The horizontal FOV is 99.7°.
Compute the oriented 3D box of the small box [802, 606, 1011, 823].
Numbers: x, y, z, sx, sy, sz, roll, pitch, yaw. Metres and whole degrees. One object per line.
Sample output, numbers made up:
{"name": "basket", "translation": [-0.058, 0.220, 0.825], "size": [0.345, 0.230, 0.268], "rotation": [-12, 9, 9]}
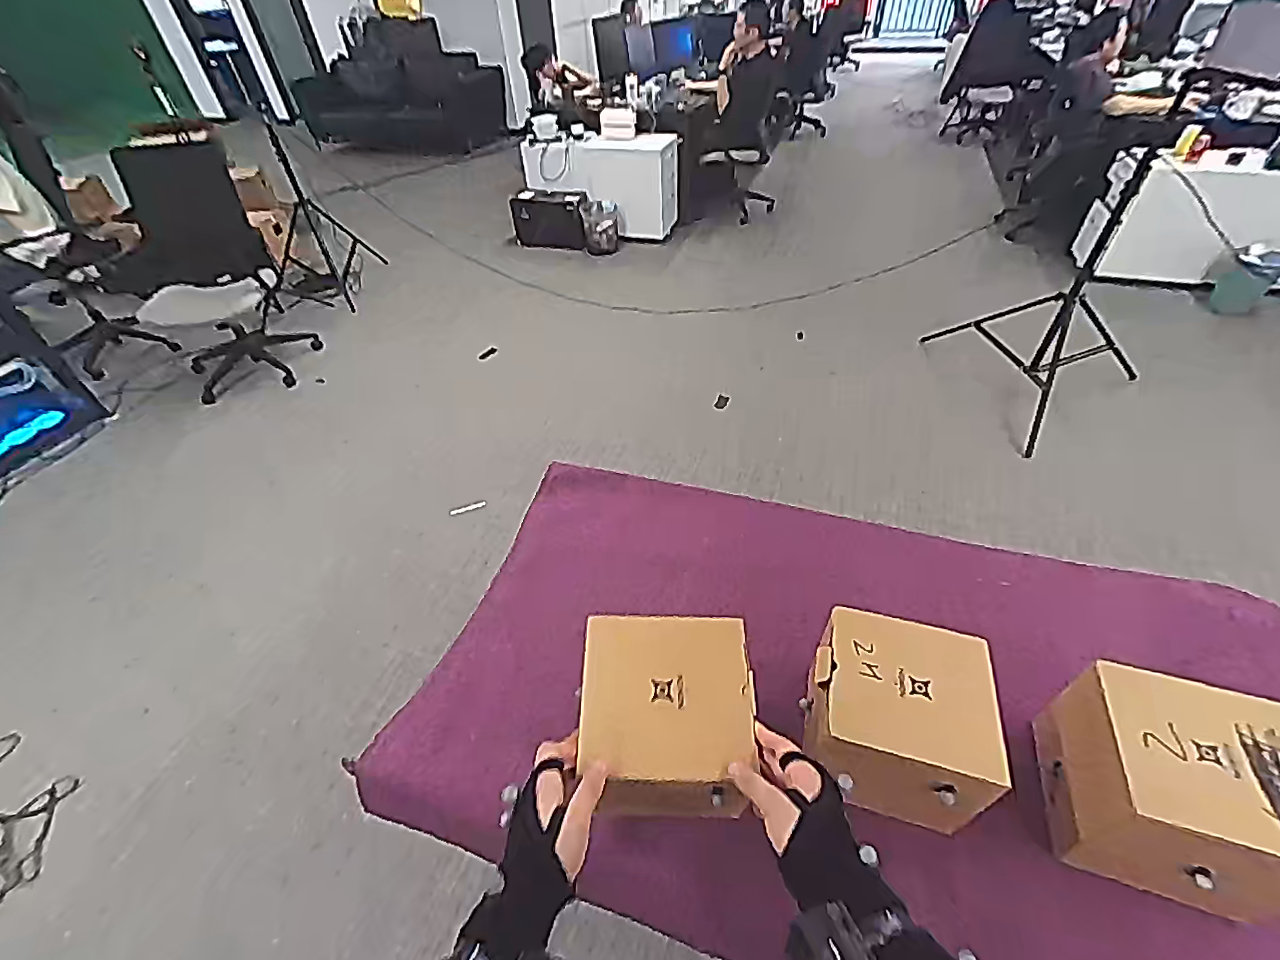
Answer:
{"name": "small box", "translation": [0.304, 0.283, 0.650], "size": [0.179, 0.176, 0.168], "rotation": [10, 44, 14]}

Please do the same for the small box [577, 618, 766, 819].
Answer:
{"name": "small box", "translation": [0.029, 0.268, 0.601], "size": [0.179, 0.176, 0.168], "rotation": [-1, 49, 0]}
